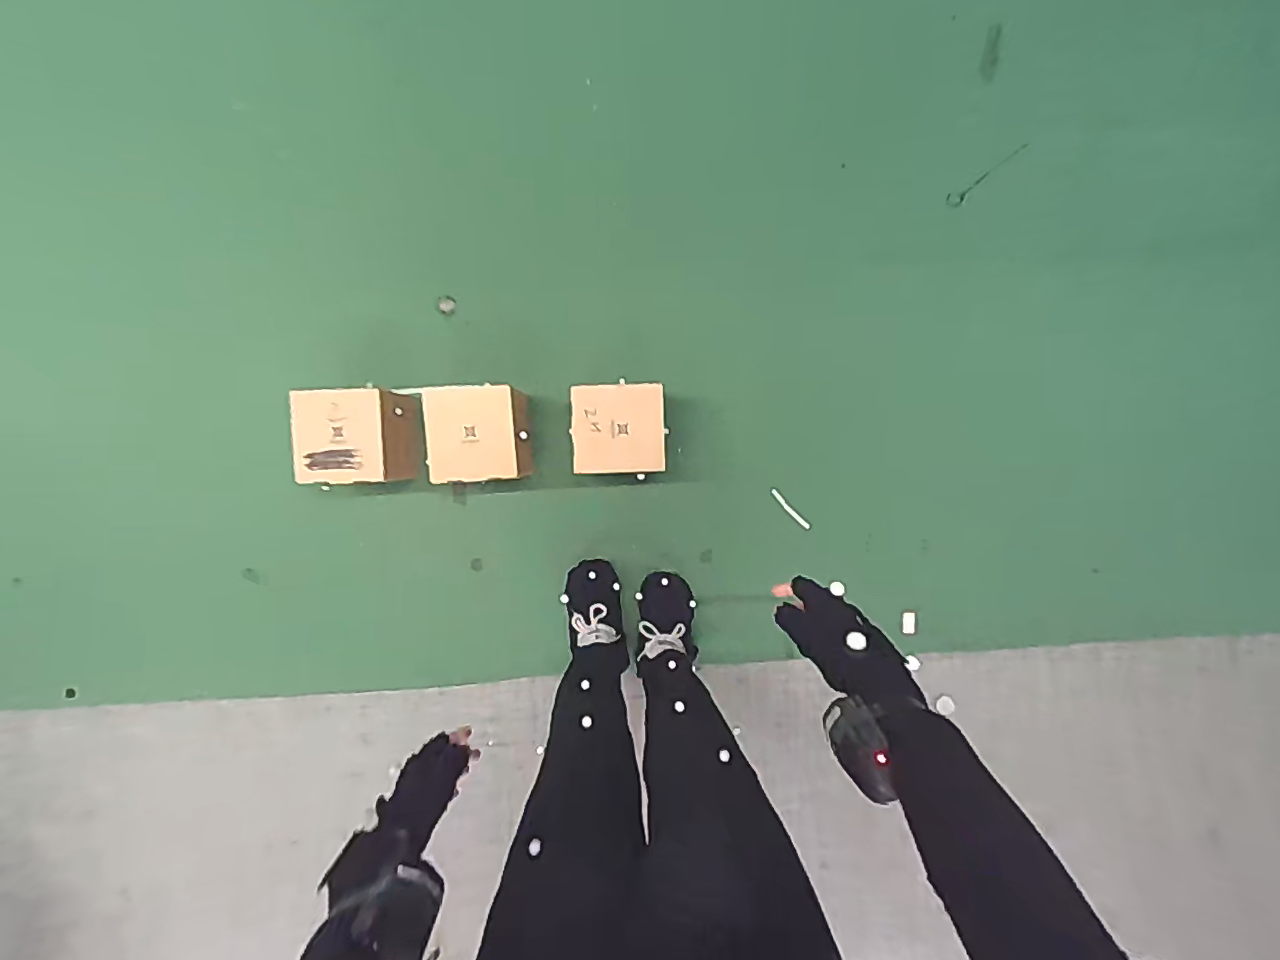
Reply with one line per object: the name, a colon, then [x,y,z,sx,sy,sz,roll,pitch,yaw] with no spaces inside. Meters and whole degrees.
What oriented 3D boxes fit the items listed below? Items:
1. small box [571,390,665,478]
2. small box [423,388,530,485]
small box: [-0.045,-0.093,1.091,0.179,0.176,0.168,-1,93,-2]
small box: [-0.320,-0.085,1.086,0.168,0.176,0.179,-4,94,-1]
